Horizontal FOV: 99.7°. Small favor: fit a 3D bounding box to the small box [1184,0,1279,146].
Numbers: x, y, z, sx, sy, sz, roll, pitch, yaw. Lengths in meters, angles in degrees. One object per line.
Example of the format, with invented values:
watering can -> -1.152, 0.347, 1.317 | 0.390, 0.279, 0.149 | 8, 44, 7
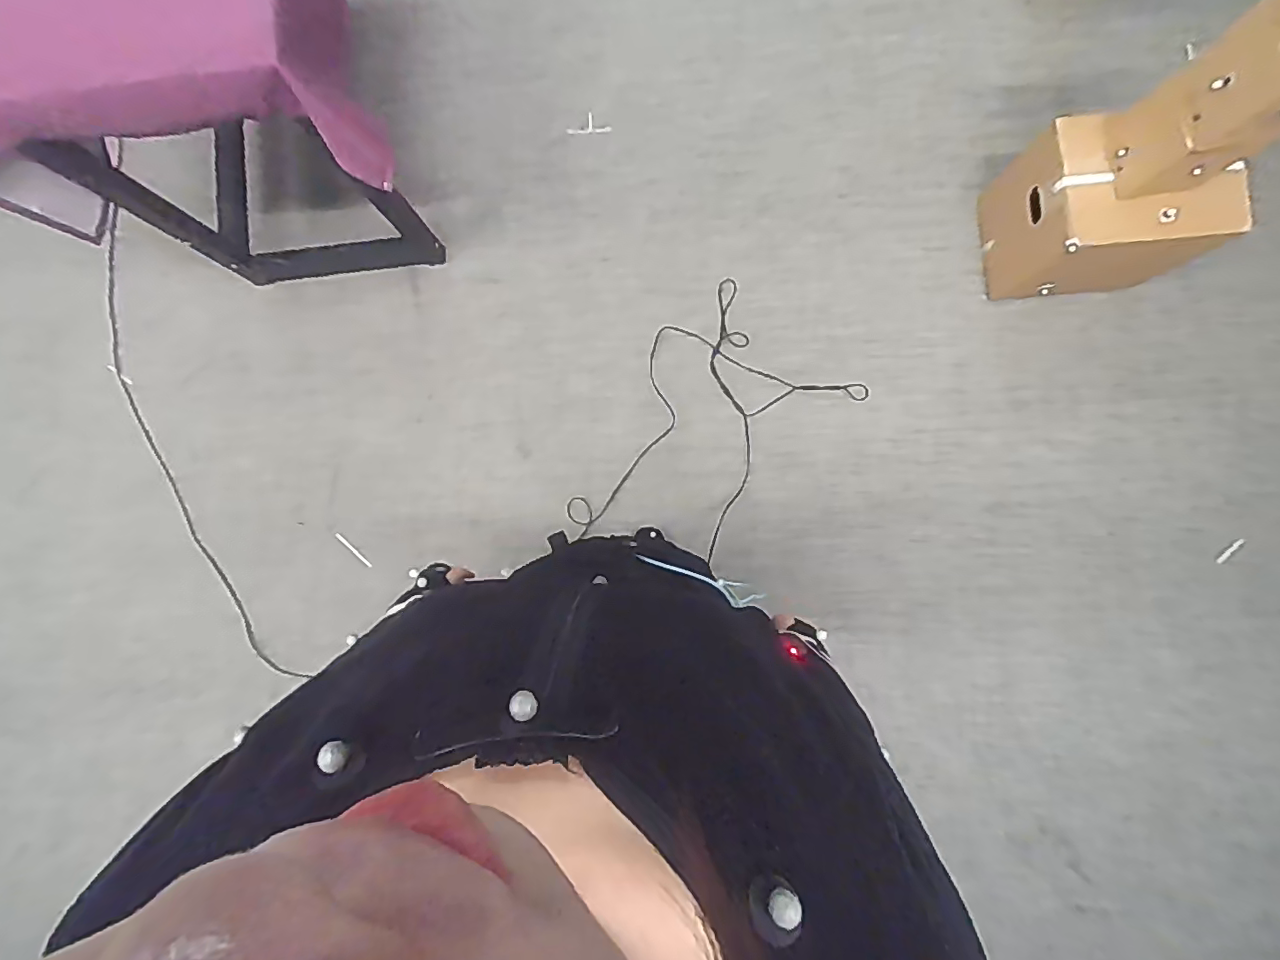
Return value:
small box -> 1.148, -0.744, 0.976 | 0.179, 0.176, 0.168 | -12, 85, 1
